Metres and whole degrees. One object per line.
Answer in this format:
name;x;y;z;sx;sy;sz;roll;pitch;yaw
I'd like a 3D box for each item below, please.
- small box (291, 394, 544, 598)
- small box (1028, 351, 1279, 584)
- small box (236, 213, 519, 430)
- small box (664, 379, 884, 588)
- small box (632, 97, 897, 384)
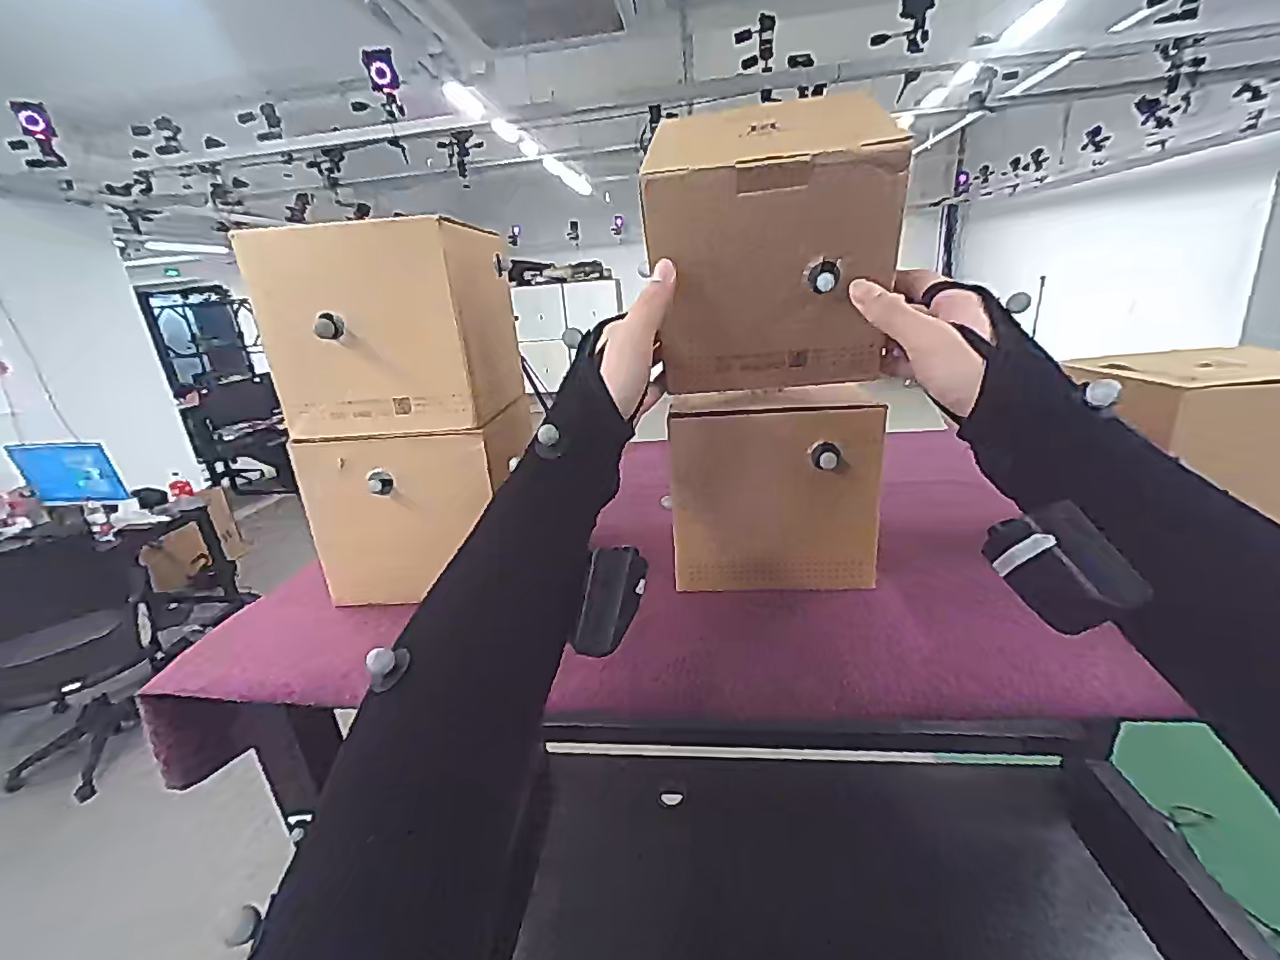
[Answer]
small box;-0.210;0.011;0.564;0.179;0.176;0.168;-2;19;4
small box;0.488;-0.017;0.479;0.179;0.176;0.168;-2;17;8
small box;-0.222;-0.143;0.515;0.168;0.176;0.179;-3;18;3
small box;0.120;-0.004;0.532;0.179;0.176;0.168;-2;18;8
small box;0.098;-0.190;0.445;0.168;0.176;0.179;-1;41;11
